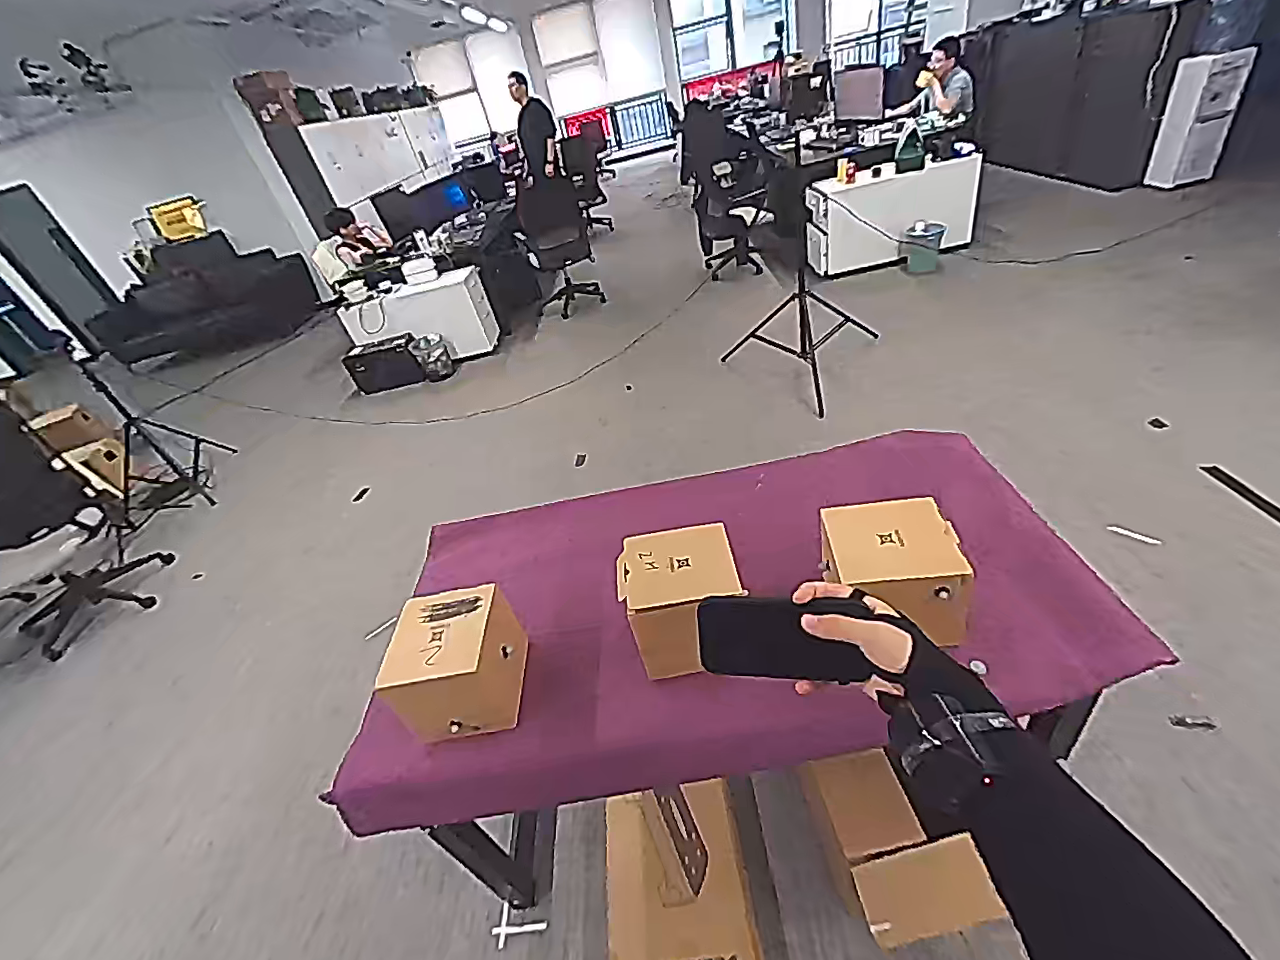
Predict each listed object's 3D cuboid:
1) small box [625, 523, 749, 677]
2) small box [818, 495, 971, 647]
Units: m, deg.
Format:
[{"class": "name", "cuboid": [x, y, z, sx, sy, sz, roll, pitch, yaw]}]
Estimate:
[{"class": "small box", "cuboid": [0.079, 0.200, 0.900, 0.179, 0.176, 0.168, -12, 34, 5]}, {"class": "small box", "cuboid": [0.390, 0.148, 0.856, 0.179, 0.176, 0.168, -8, 37, 10]}]
